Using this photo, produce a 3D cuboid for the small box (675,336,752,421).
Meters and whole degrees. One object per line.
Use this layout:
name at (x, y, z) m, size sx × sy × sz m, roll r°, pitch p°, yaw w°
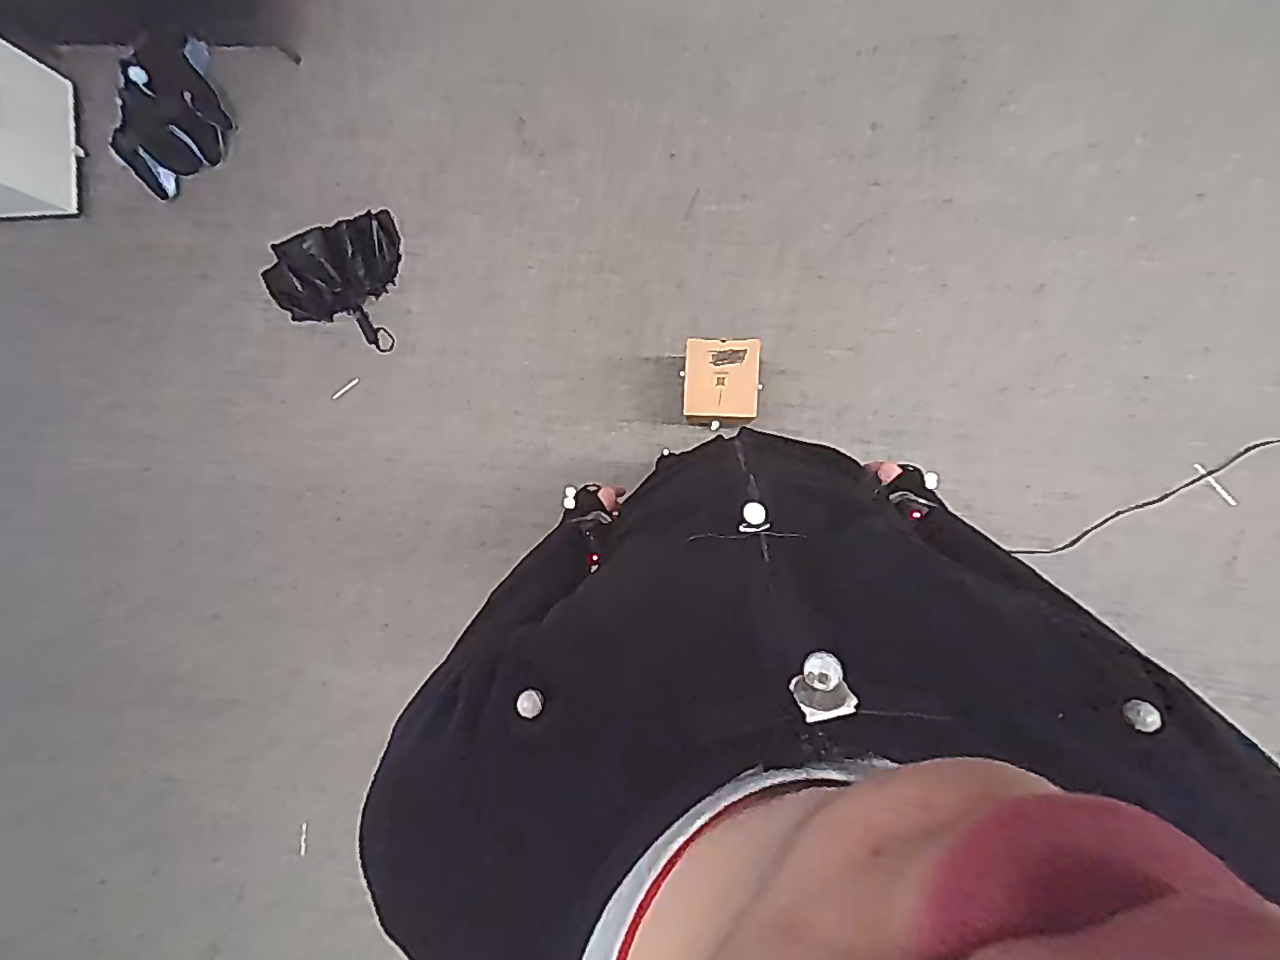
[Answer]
small box at (0.173, -0.238, 1.302) m, size 0.168 × 0.176 × 0.179 m, roll 4°, pitch 93°, yaw 6°
